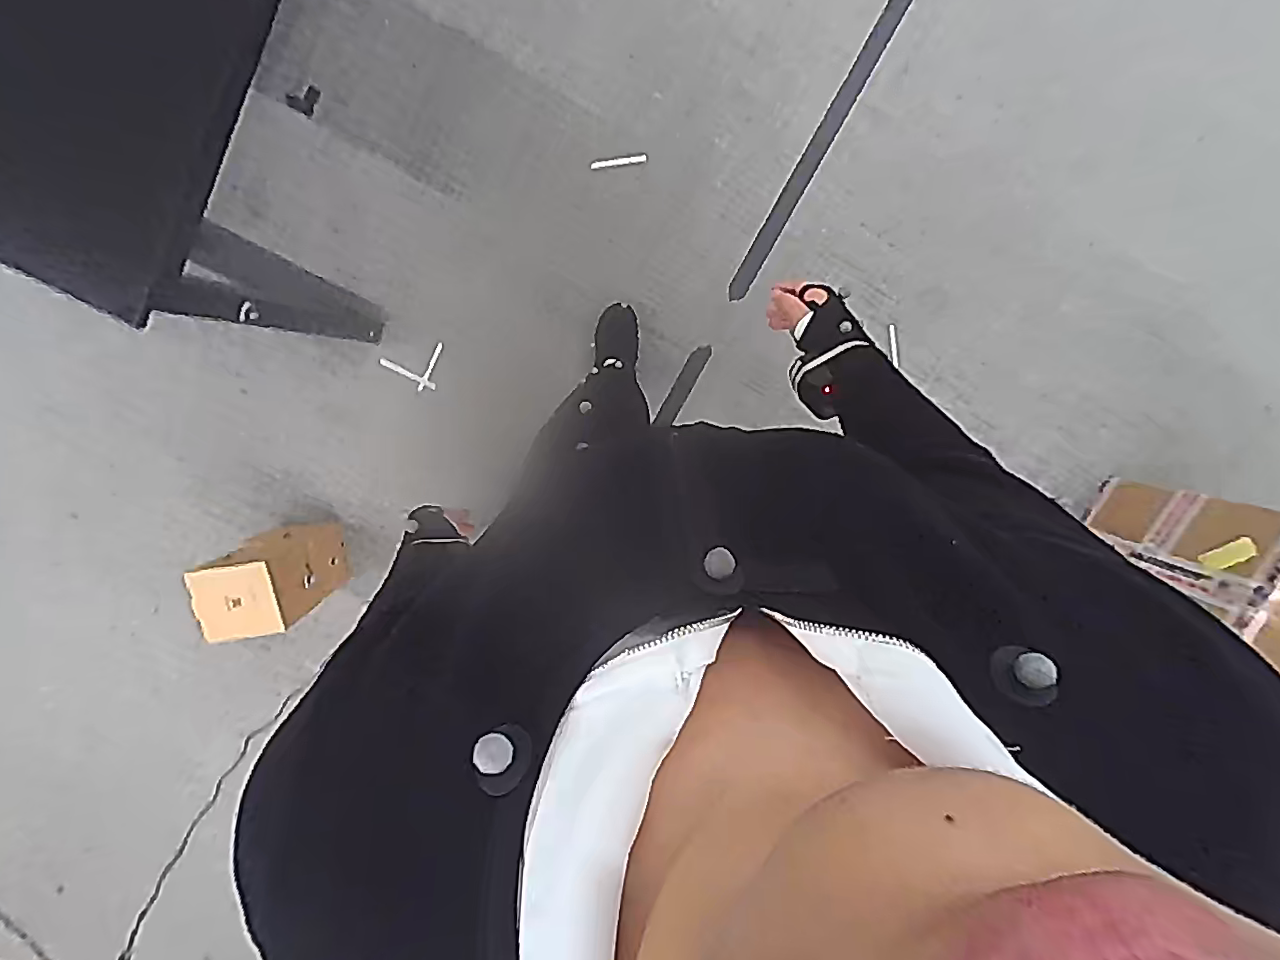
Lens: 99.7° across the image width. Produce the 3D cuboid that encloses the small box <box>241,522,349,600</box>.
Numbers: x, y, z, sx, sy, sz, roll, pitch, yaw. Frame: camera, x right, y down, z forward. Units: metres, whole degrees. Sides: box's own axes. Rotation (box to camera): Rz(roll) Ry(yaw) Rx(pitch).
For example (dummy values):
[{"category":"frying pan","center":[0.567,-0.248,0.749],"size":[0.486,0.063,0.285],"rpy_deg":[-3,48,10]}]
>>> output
[{"category":"small box","center":[-0.882,0.210,1.405],"size":[0.179,0.176,0.168],"rpy_deg":[-4,100,-2]}]

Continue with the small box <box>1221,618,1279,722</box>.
[{"category":"small box","center":[1.333,0.406,1.069],"size":[0.168,0.176,0.179],"rpy_deg":[20,100,-3]}]

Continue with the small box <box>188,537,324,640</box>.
[{"category":"small box","center":[-0.872,0.243,1.245],"size":[0.179,0.176,0.168],"rpy_deg":[-9,102,-2]}]
